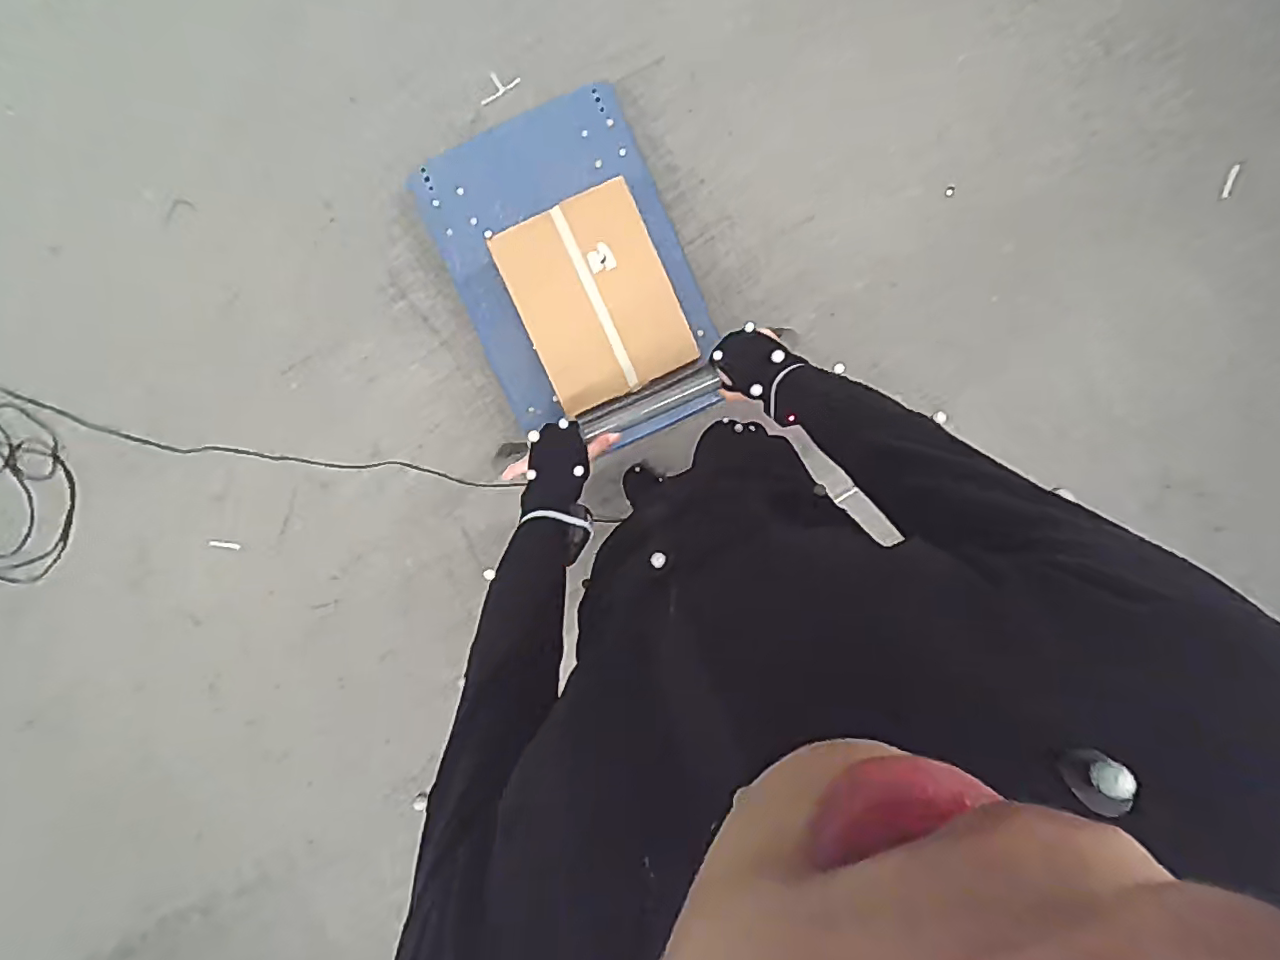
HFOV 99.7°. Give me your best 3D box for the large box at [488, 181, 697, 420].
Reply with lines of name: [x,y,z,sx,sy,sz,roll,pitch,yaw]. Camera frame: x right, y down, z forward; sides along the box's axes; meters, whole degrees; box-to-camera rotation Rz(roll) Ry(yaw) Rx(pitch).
large box: [-0.095,-0.390,1.281,0.320,0.320,0.408,-24,93,1]
